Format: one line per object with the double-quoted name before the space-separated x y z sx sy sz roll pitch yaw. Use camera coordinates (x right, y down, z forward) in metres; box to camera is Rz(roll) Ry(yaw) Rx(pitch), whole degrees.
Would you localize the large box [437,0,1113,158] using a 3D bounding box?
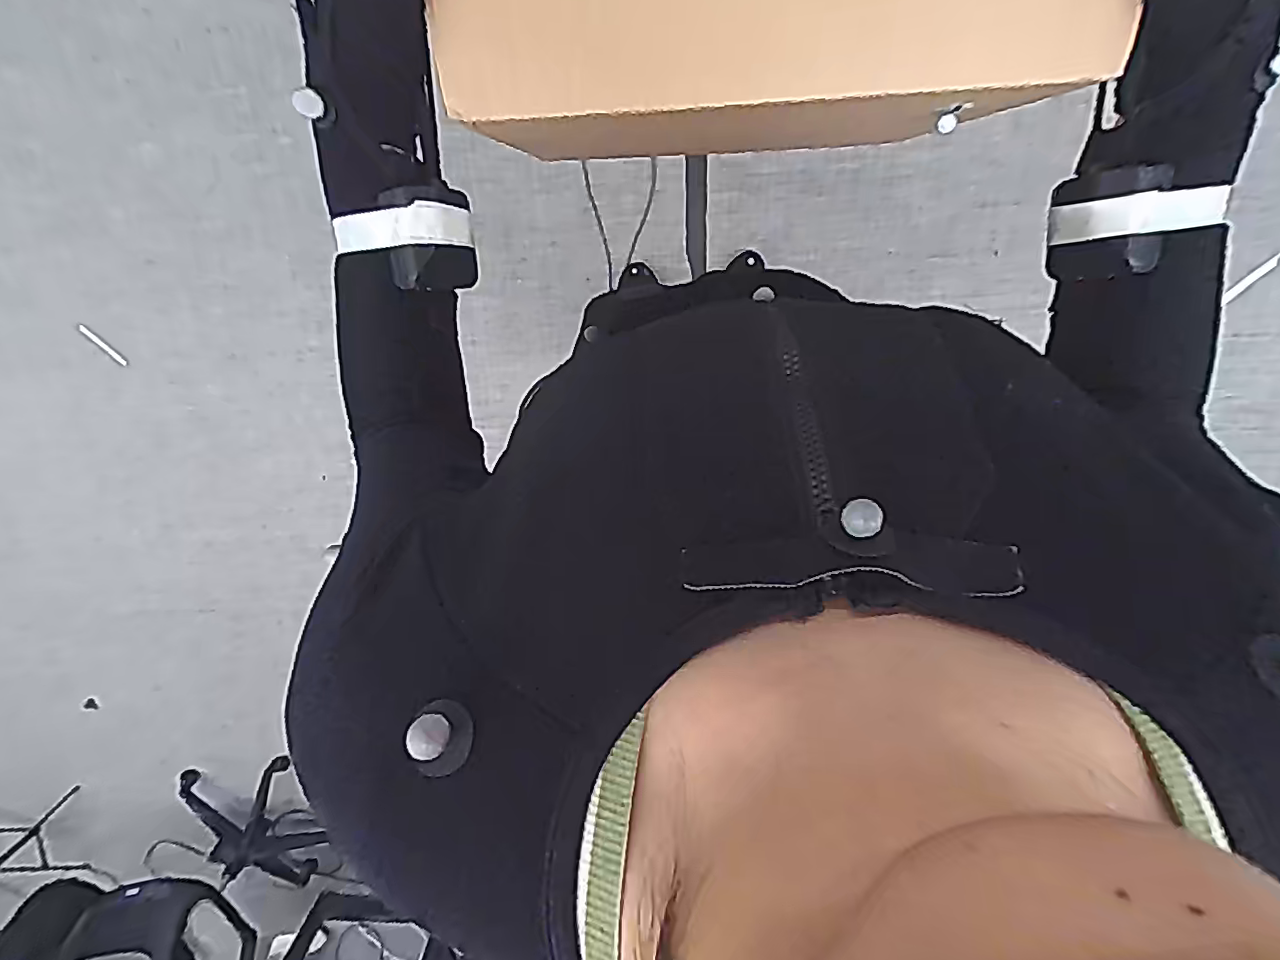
"large box" 0.075 -0.439 0.403 0.408 0.320 0.320 -2 116 2
